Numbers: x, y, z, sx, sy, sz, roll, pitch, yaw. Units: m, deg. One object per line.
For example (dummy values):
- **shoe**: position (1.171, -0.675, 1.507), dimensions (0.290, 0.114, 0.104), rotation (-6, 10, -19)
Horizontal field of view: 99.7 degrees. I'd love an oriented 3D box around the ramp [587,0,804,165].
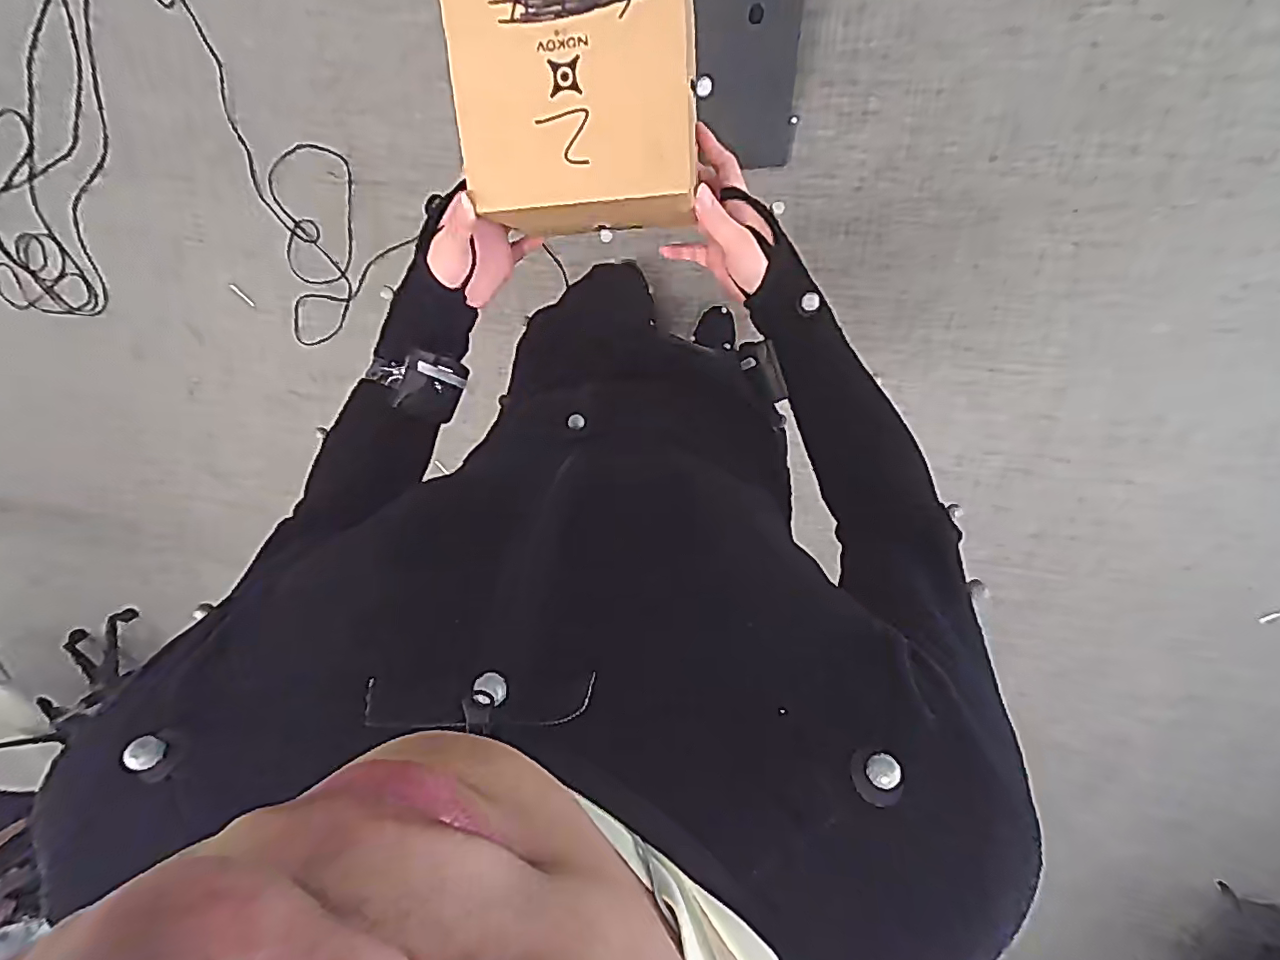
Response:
- **ramp**: position (0.118, -1.230, 1.116), dimensions (0.509, 0.206, 0.991), rotation (4, 110, 10)
